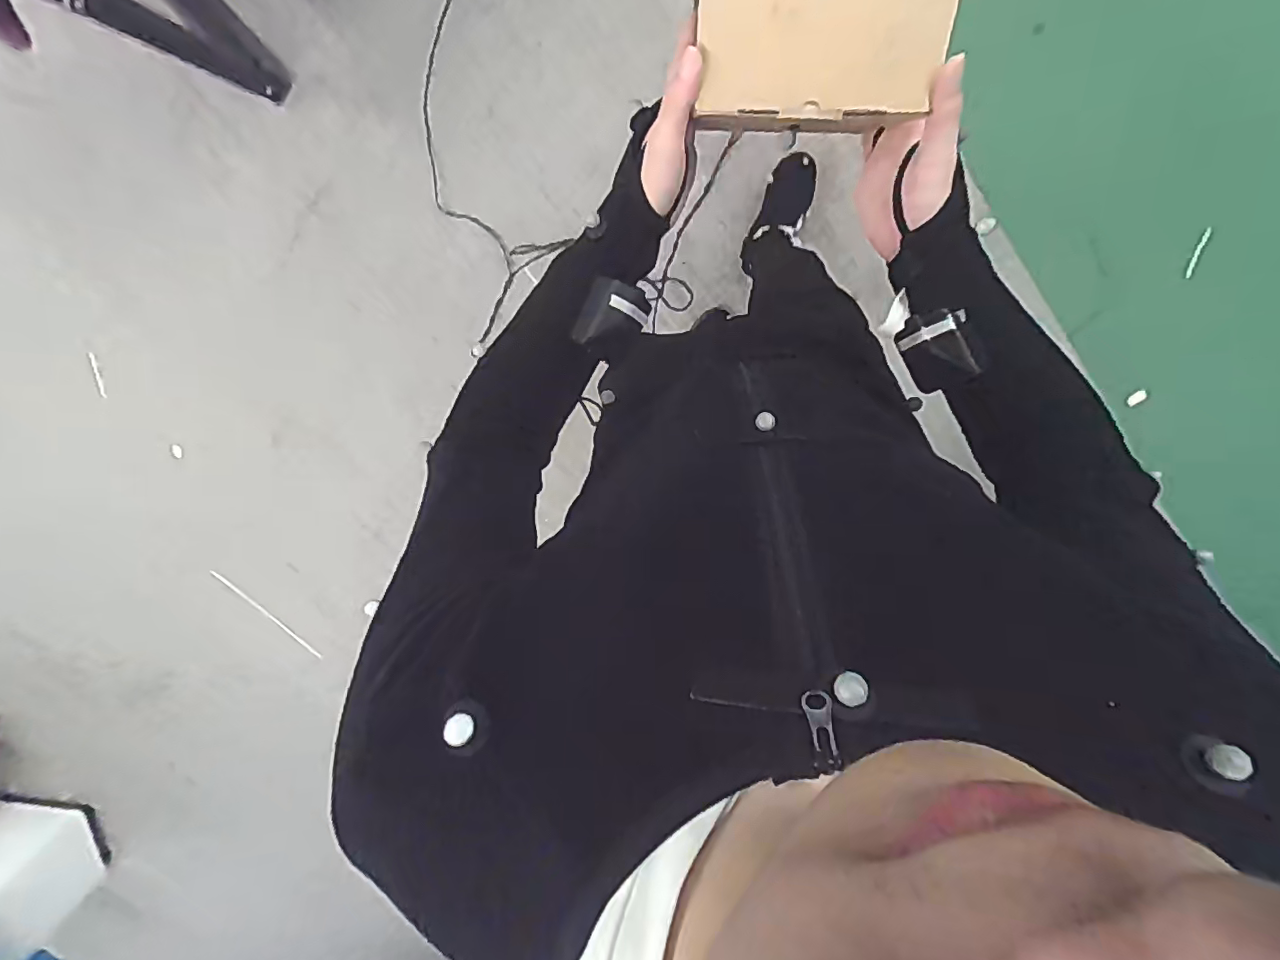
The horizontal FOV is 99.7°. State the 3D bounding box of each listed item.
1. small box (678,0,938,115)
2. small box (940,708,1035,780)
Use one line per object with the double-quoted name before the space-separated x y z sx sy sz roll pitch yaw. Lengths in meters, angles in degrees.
"small box" 0.116 -0.378 0.400 0.168 0.176 0.179 2 121 4
"small box" 0.738 0.589 1.144 0.168 0.176 0.179 -35 102 16
